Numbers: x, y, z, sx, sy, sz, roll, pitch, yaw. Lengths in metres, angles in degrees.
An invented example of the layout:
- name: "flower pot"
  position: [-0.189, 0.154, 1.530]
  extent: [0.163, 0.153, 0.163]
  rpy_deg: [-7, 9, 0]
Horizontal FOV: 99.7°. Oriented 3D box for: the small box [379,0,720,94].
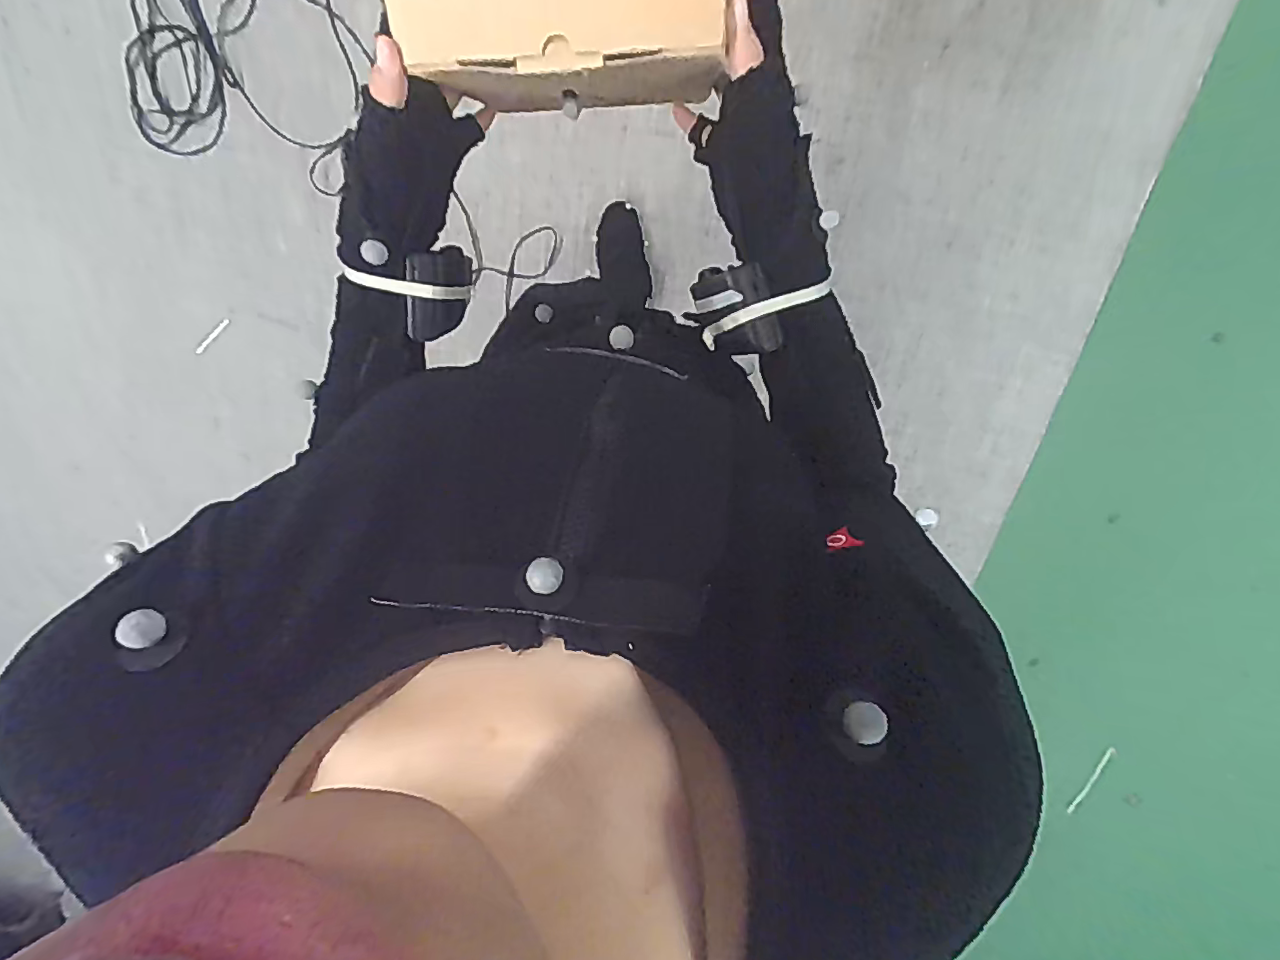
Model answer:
- name: "small box"
  position: [-0.042, -0.330, 0.291]
  extent: [0.168, 0.176, 0.179]
  rpy_deg: [0, 119, 5]
